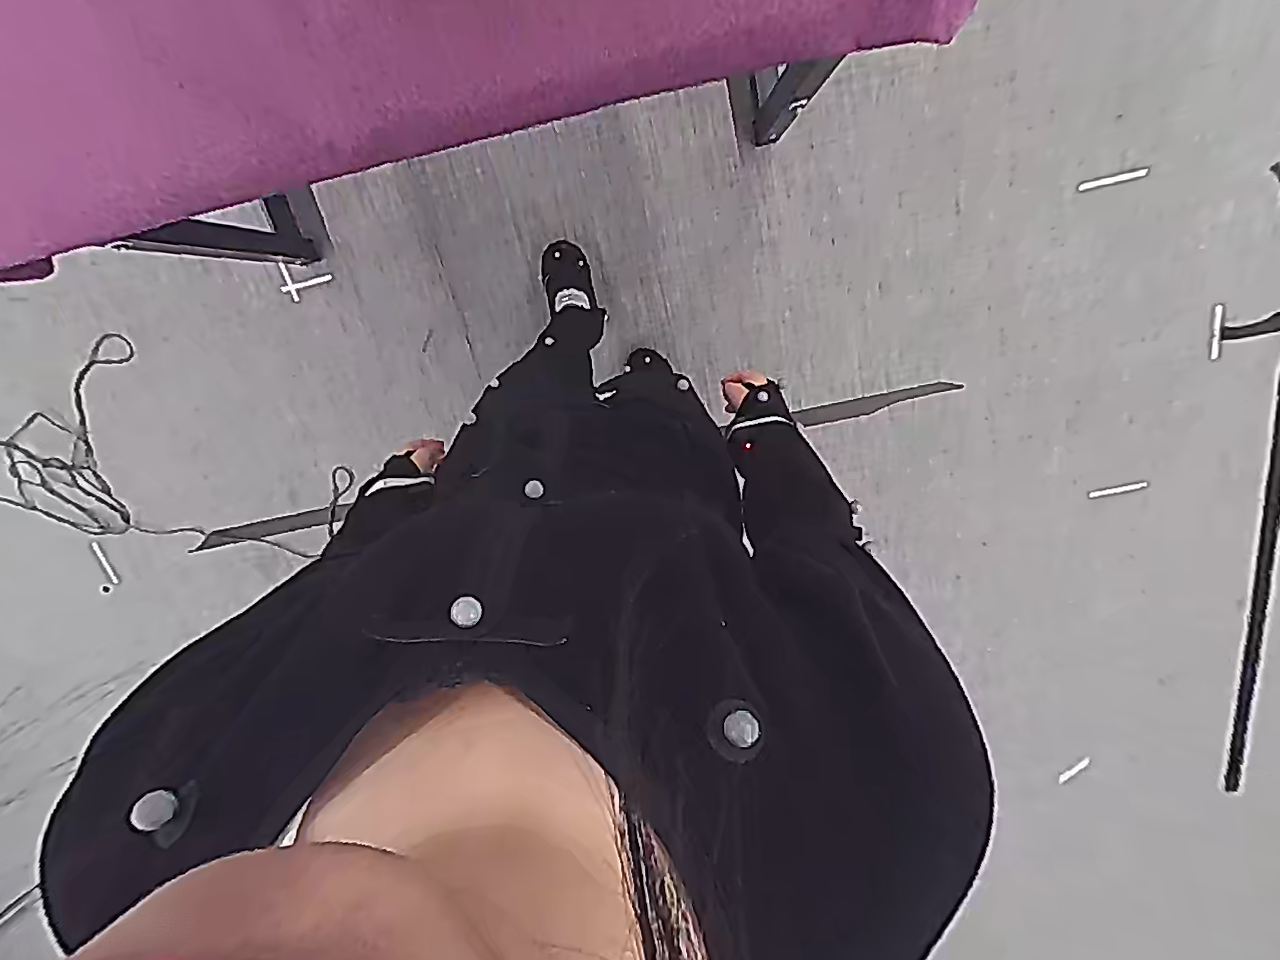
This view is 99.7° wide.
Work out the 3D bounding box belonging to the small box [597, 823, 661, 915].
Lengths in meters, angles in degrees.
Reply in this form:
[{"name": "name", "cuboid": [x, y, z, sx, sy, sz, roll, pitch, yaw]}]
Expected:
[{"name": "small box", "cuboid": [-0.035, 1.325, 1.850, 0.168, 0.176, 0.179, -22, 106, 5]}]
